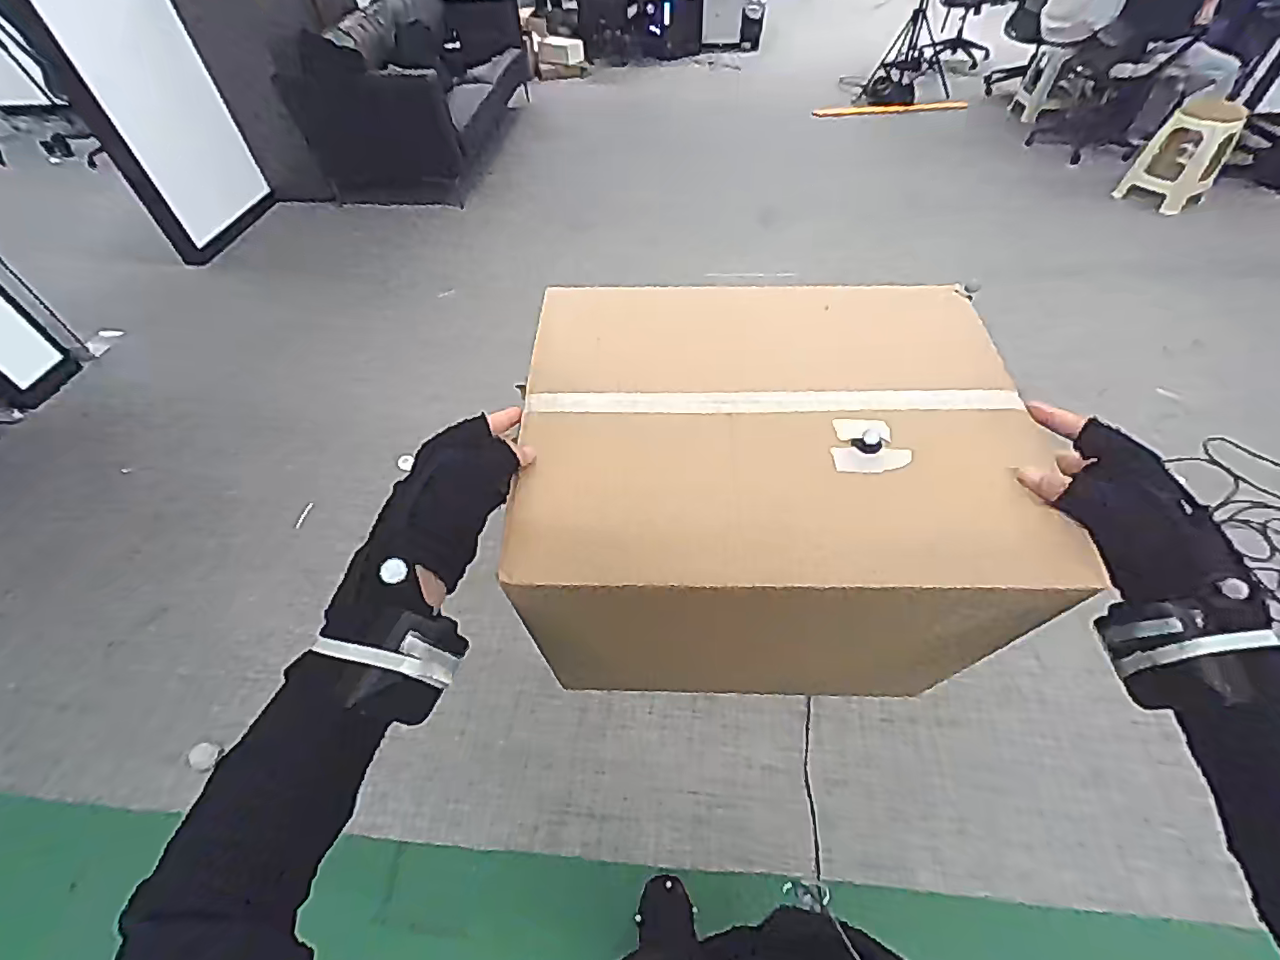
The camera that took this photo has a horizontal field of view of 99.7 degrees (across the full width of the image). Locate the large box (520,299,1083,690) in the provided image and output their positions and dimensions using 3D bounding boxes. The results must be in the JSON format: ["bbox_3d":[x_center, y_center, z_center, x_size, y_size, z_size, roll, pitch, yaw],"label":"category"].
[{"bbox_3d":[0.111,0.029,0.581,0.408,0.320,0.320,0,56,1],"label":"large box"}]
